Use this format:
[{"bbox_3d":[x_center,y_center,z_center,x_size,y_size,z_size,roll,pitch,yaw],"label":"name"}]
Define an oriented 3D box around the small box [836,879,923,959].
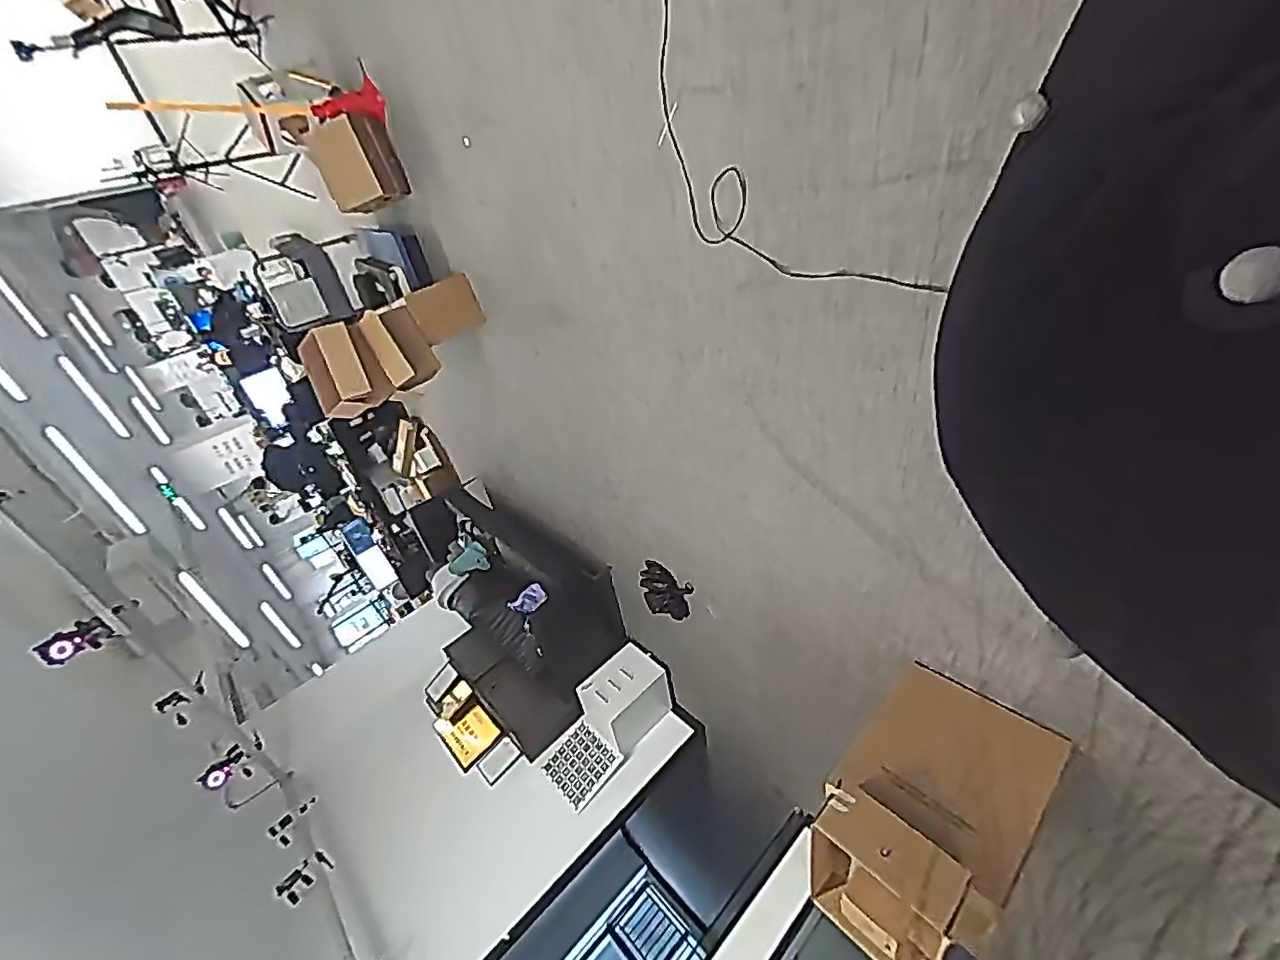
[{"bbox_3d":[0.713,1.347,1.619,0.179,0.176,0.168,27,140,45],"label":"small box"}]
